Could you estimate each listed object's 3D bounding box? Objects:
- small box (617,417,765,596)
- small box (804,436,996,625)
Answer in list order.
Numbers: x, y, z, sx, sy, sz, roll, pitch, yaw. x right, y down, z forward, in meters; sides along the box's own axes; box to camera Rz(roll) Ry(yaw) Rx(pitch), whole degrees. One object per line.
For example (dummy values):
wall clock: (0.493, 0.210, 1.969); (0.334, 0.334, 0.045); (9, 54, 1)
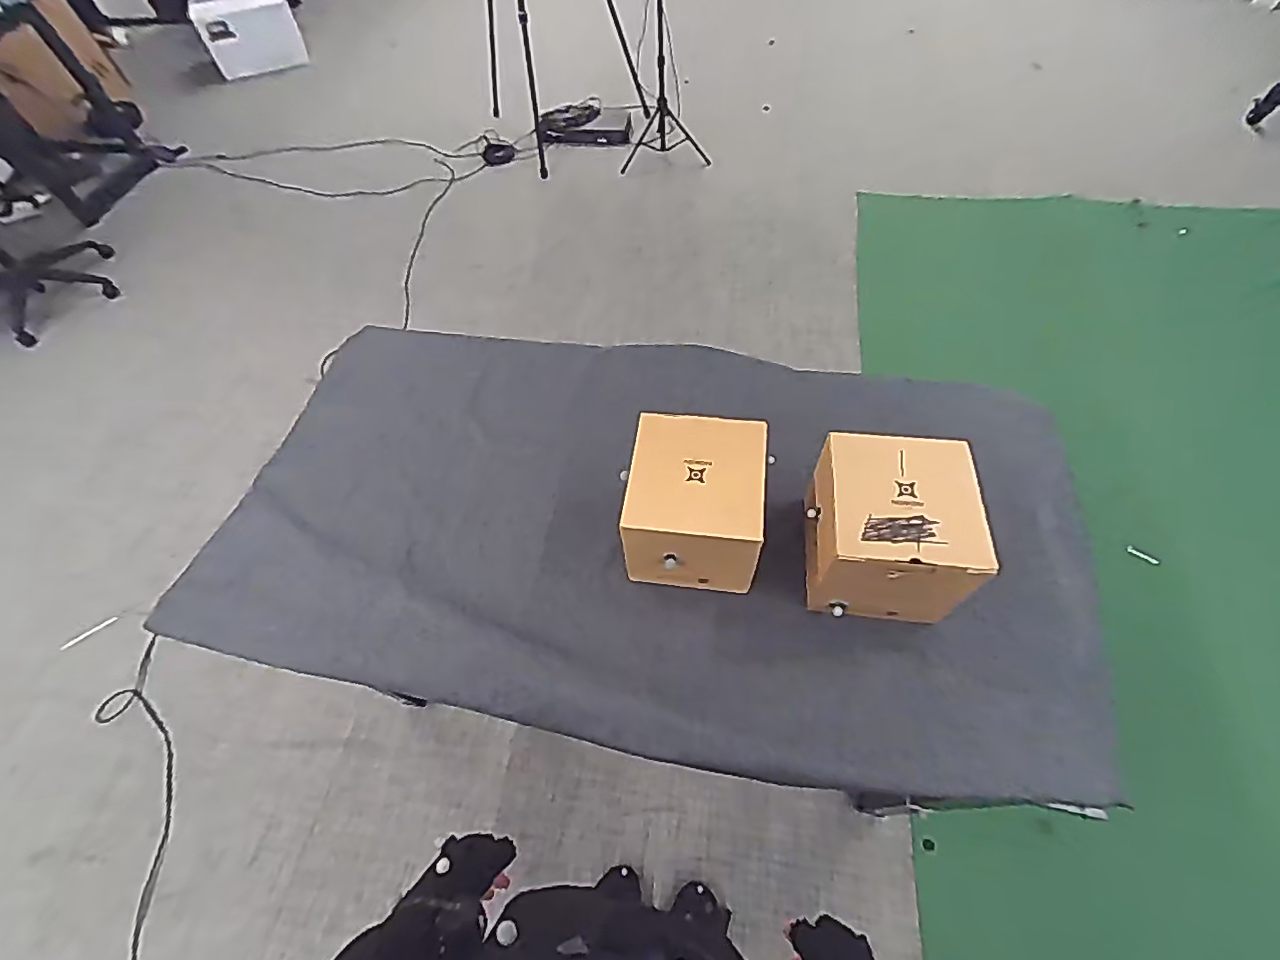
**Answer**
small box: (0.071, 0.040, 0.719); (0.168, 0.176, 0.179); (5, 56, 7)
small box: (0.307, 0.068, 0.681); (0.168, 0.176, 0.179); (5, 56, 7)
